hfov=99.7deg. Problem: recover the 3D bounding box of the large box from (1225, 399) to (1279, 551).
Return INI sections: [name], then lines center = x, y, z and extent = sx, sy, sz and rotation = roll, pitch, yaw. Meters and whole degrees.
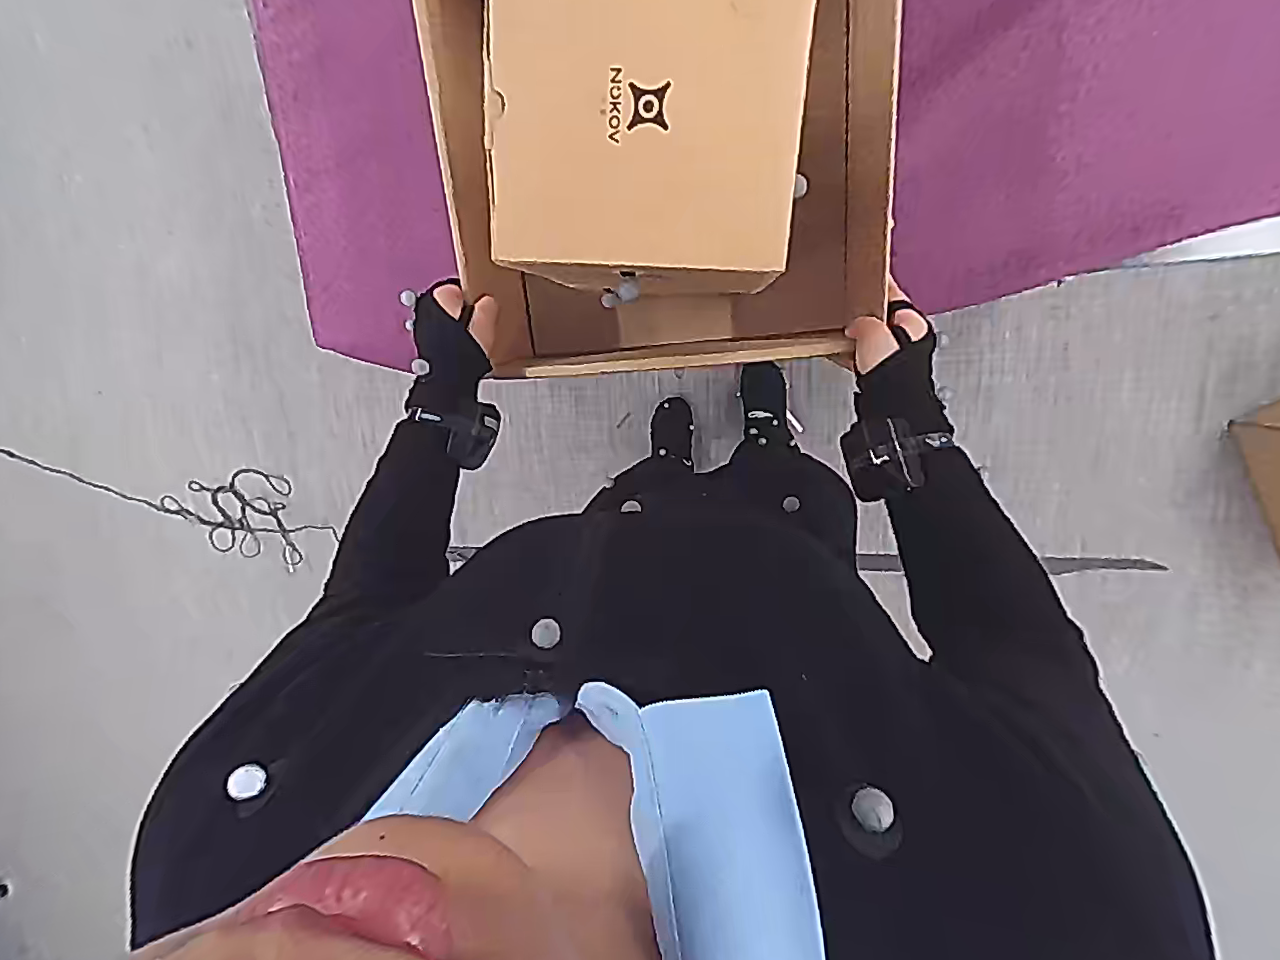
[large box]
center = 1.530, 0.004, 1.074
extent = 0.320, 0.320, 0.408
rotation = -29, 97, 15
